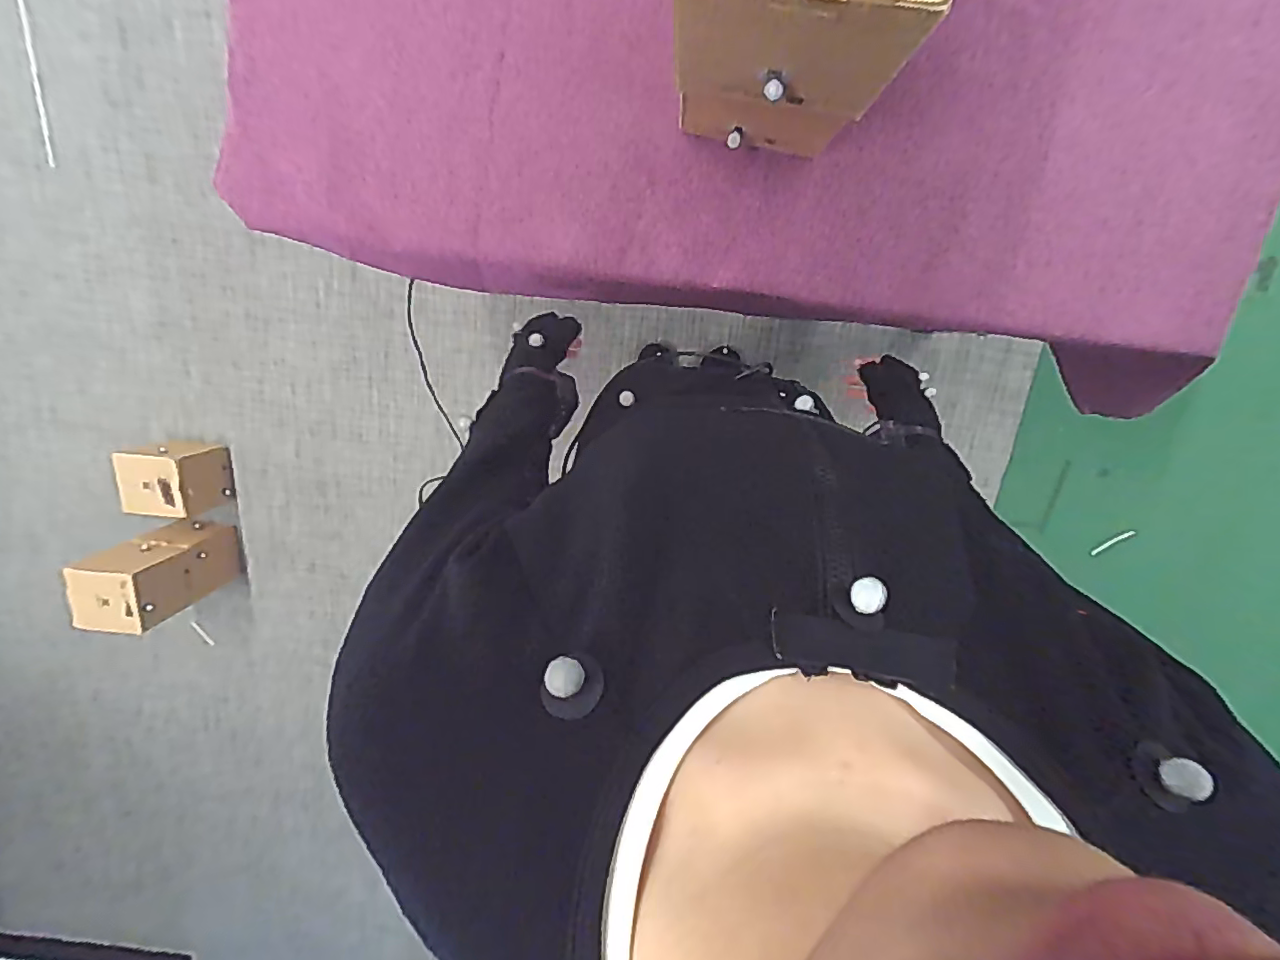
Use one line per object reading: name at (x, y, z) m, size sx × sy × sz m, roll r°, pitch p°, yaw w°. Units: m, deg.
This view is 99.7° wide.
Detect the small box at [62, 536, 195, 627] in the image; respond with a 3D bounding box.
small box at (-1.302, 0.254, 1.388) m, size 0.179 × 0.176 × 0.168 m, roll 7°, pitch 106°, yaw 2°

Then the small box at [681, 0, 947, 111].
small box at (0.122, -0.397, 0.374) m, size 0.168 × 0.176 × 0.179 m, roll 11°, pitch 106°, yaw 2°

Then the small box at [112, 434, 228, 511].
small box at (-1.267, -0.025, 1.476) m, size 0.179 × 0.176 × 0.168 m, roll 6°, pitch 105°, yaw 2°

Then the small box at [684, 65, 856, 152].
small box at (0.139, -0.455, 0.527) m, size 0.168 × 0.176 × 0.179 m, roll 12°, pitch 106°, yaw 1°
